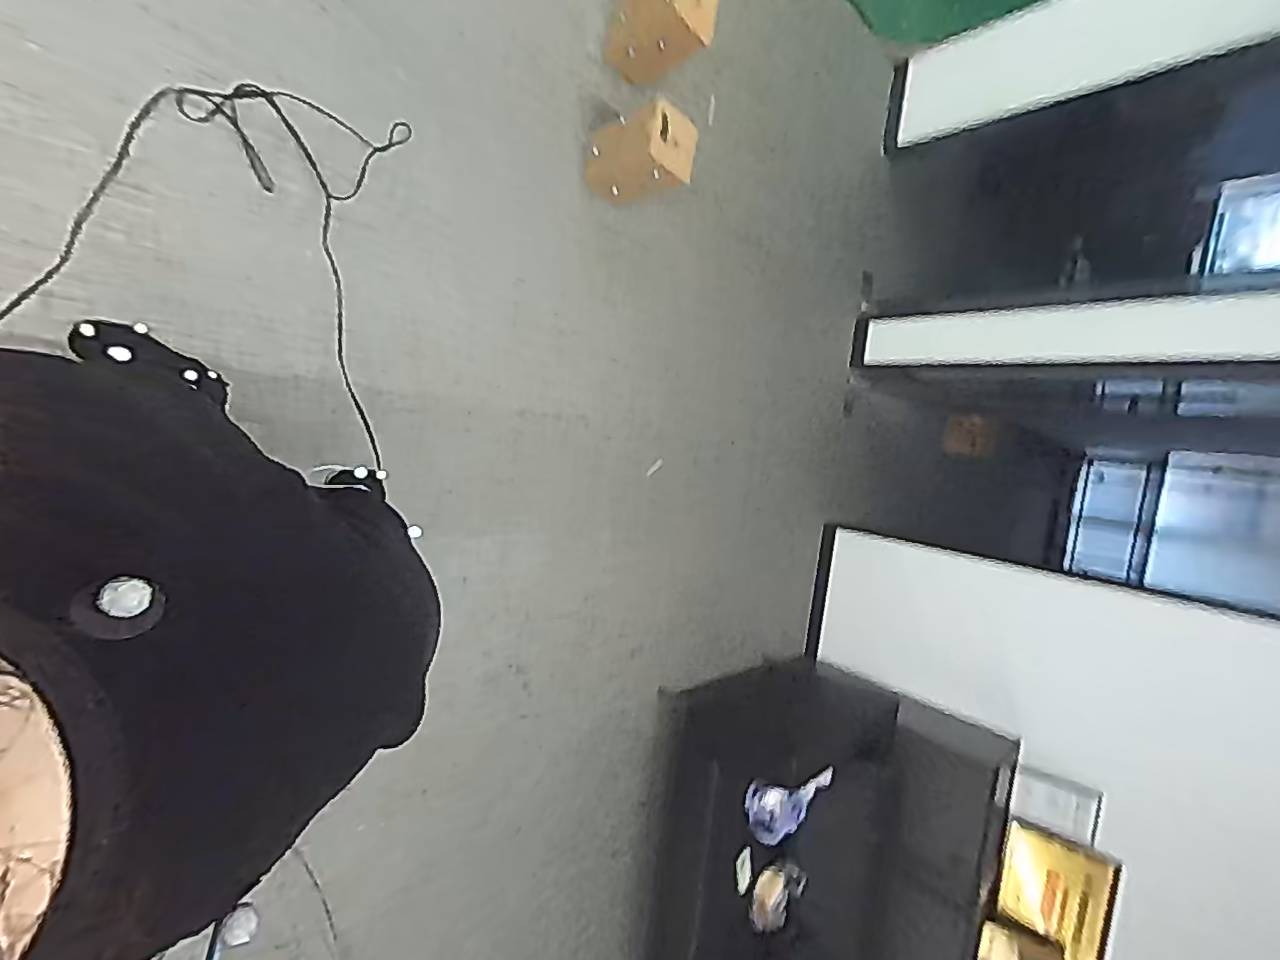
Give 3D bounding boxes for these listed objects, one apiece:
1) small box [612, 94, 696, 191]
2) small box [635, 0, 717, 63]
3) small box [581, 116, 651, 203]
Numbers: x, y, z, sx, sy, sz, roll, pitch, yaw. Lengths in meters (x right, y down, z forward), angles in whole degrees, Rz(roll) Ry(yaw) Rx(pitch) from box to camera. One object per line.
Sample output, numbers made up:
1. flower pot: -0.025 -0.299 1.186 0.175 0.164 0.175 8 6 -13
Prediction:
1. small box: 0.039 -0.998 1.619 0.179 0.176 0.168 8 93 -45
2. small box: 0.105 -1.398 1.600 0.168 0.176 0.179 8 93 -44
3. small box: -0.069 -1.021 1.741 0.179 0.176 0.168 7 94 -43
